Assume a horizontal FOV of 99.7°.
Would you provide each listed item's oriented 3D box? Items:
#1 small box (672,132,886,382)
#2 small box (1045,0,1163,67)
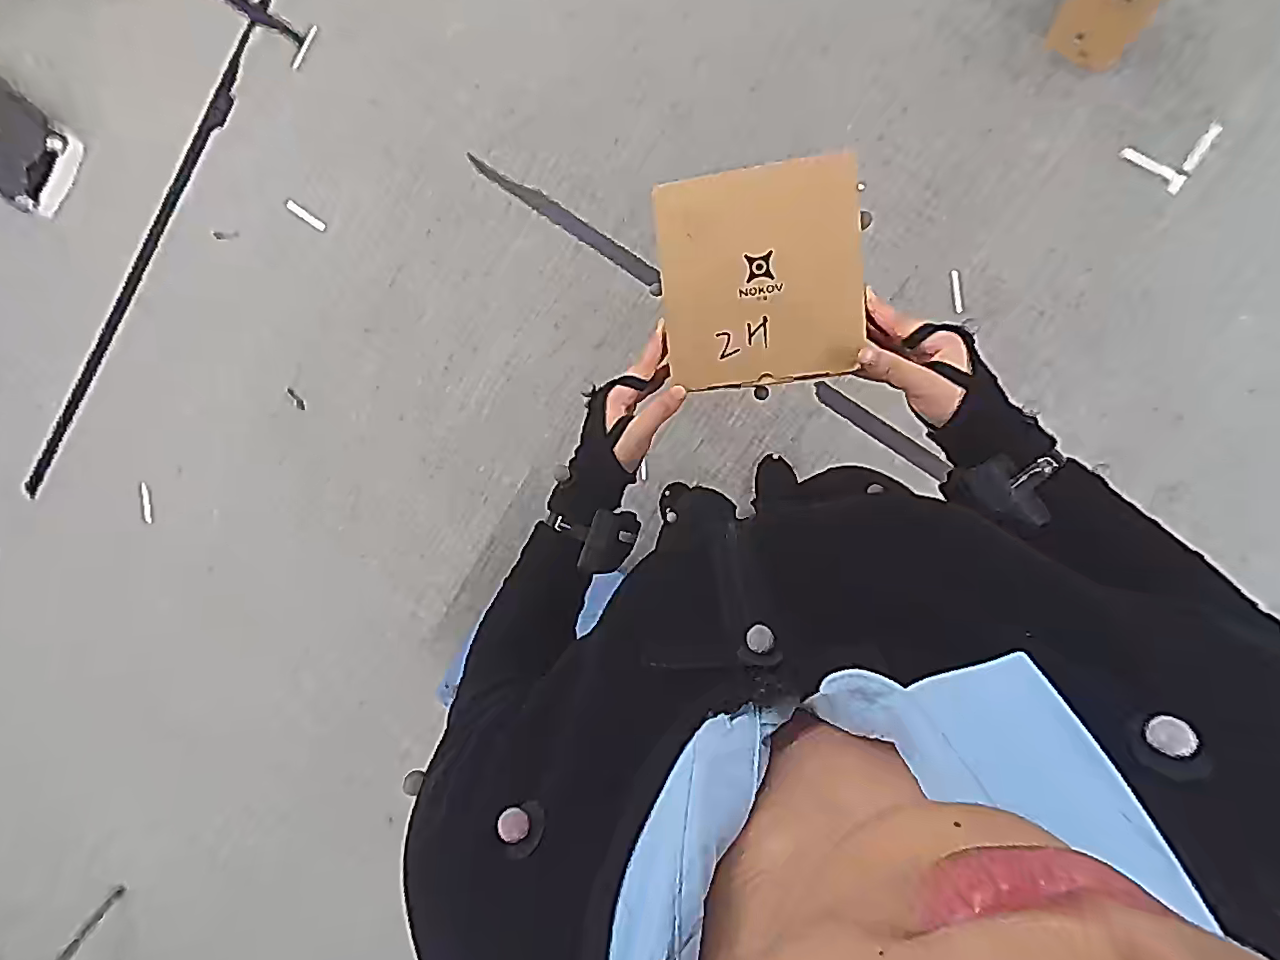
[{"bbox_3d":[0.125,-0.190,0.517,0.168,0.176,0.179,-4,99,11],"label":"small box"},{"bbox_3d":[1.074,-1.101,1.219,0.168,0.176,0.179,33,98,6],"label":"small box"}]
